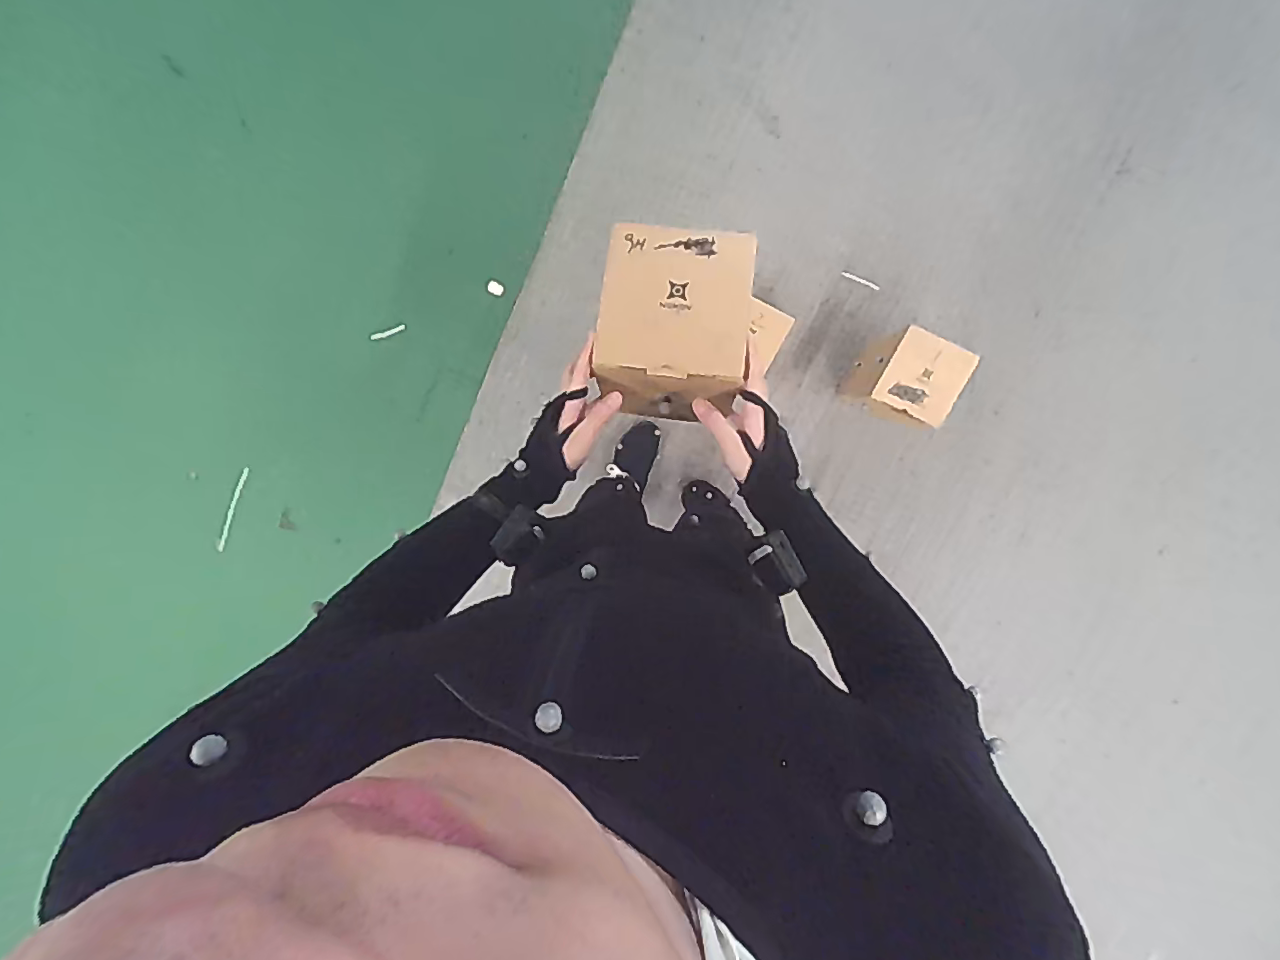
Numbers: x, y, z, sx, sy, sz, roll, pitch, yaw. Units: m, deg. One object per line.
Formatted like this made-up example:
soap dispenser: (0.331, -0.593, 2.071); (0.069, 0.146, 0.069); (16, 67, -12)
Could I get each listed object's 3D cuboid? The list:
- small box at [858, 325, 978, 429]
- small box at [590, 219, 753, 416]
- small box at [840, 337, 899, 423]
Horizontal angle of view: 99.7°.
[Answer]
small box: (0.629, -0.230, 1.254); (0.168, 0.176, 0.179); (28, 99, 4)
small box: (0.040, -0.188, 0.669); (0.168, 0.176, 0.179); (6, 80, 3)
small box: (0.651, -0.252, 1.414); (0.179, 0.176, 0.168); (26, 99, 4)
